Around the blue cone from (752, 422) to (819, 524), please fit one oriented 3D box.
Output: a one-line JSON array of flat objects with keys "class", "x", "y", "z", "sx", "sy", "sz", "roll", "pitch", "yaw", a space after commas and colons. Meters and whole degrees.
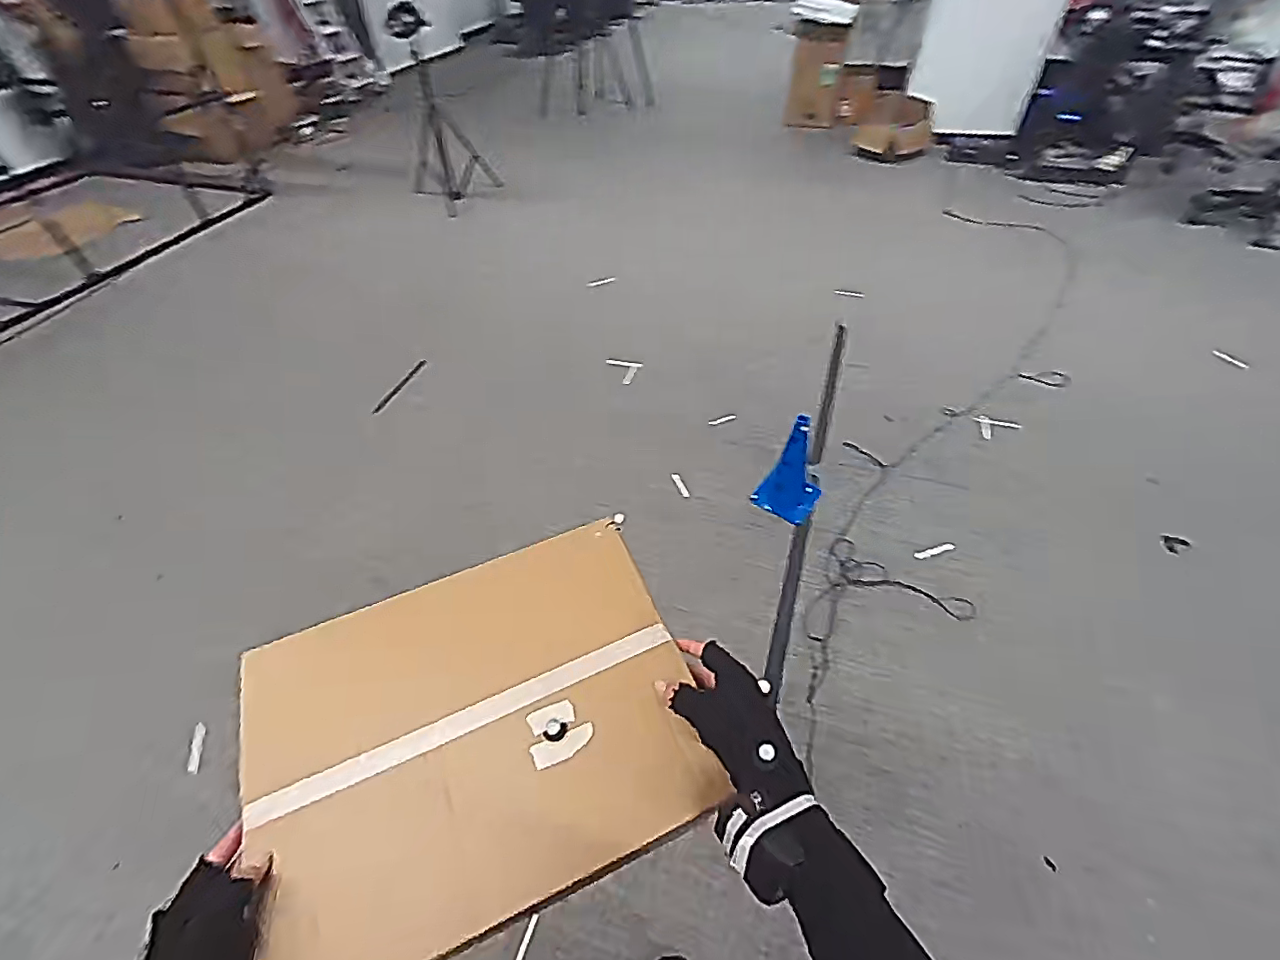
[{"class": "blue cone", "x": 0.509, "y": -0.050, "z": 1.805, "sx": 0.193, "sy": 0.380, "sz": 0.192, "roll": 30, "pitch": 56, "yaw": 28}]
